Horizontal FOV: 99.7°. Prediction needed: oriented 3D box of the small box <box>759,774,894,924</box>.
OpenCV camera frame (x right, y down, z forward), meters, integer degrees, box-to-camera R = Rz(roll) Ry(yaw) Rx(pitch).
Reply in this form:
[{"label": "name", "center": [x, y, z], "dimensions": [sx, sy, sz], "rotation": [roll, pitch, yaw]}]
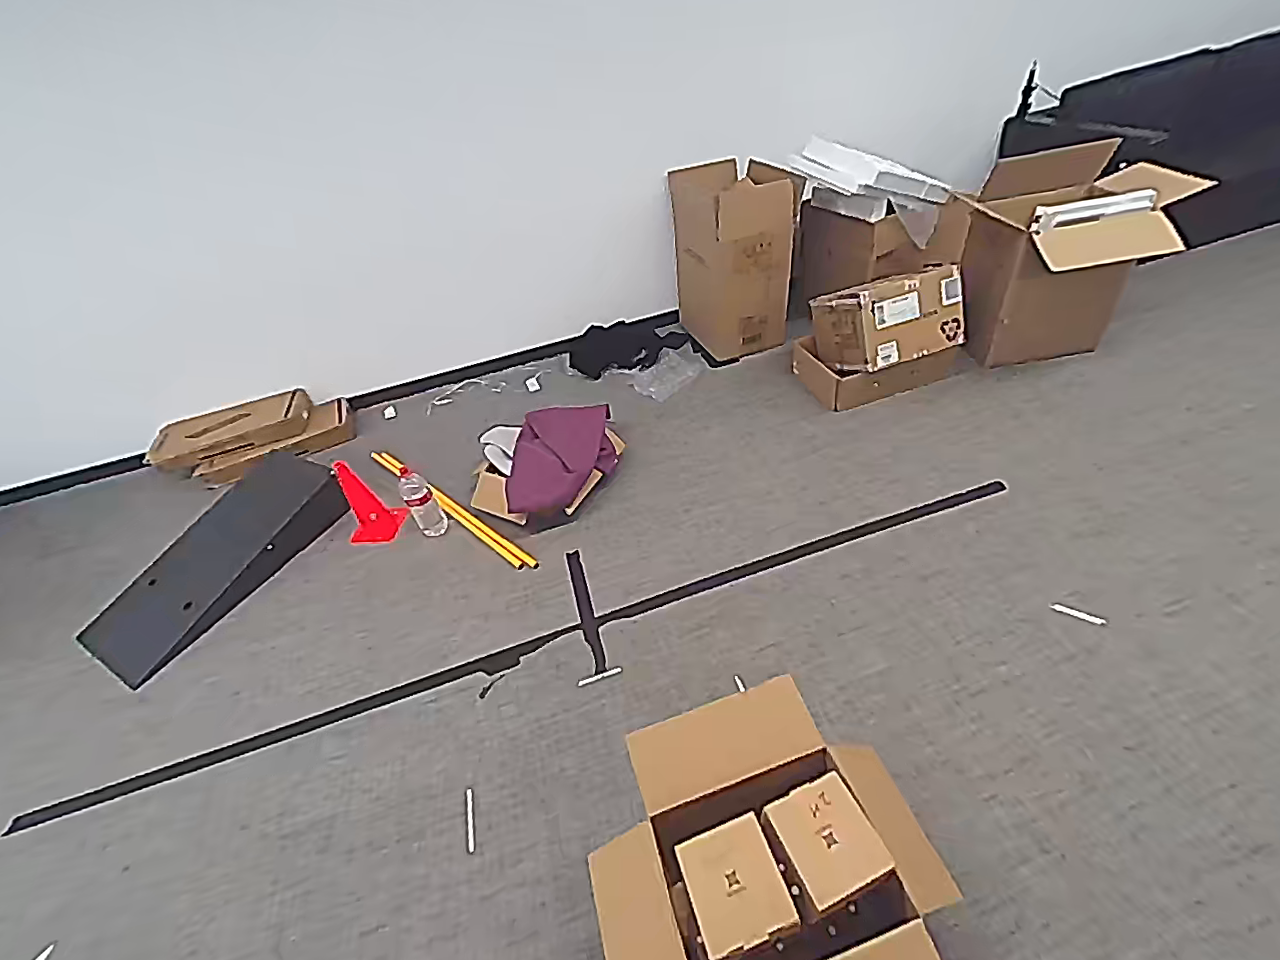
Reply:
[{"label": "small box", "center": [0.345, 0.711, 1.036], "dimensions": [0.168, 0.176, 0.179], "rotation": [-18, 42, -14]}]
